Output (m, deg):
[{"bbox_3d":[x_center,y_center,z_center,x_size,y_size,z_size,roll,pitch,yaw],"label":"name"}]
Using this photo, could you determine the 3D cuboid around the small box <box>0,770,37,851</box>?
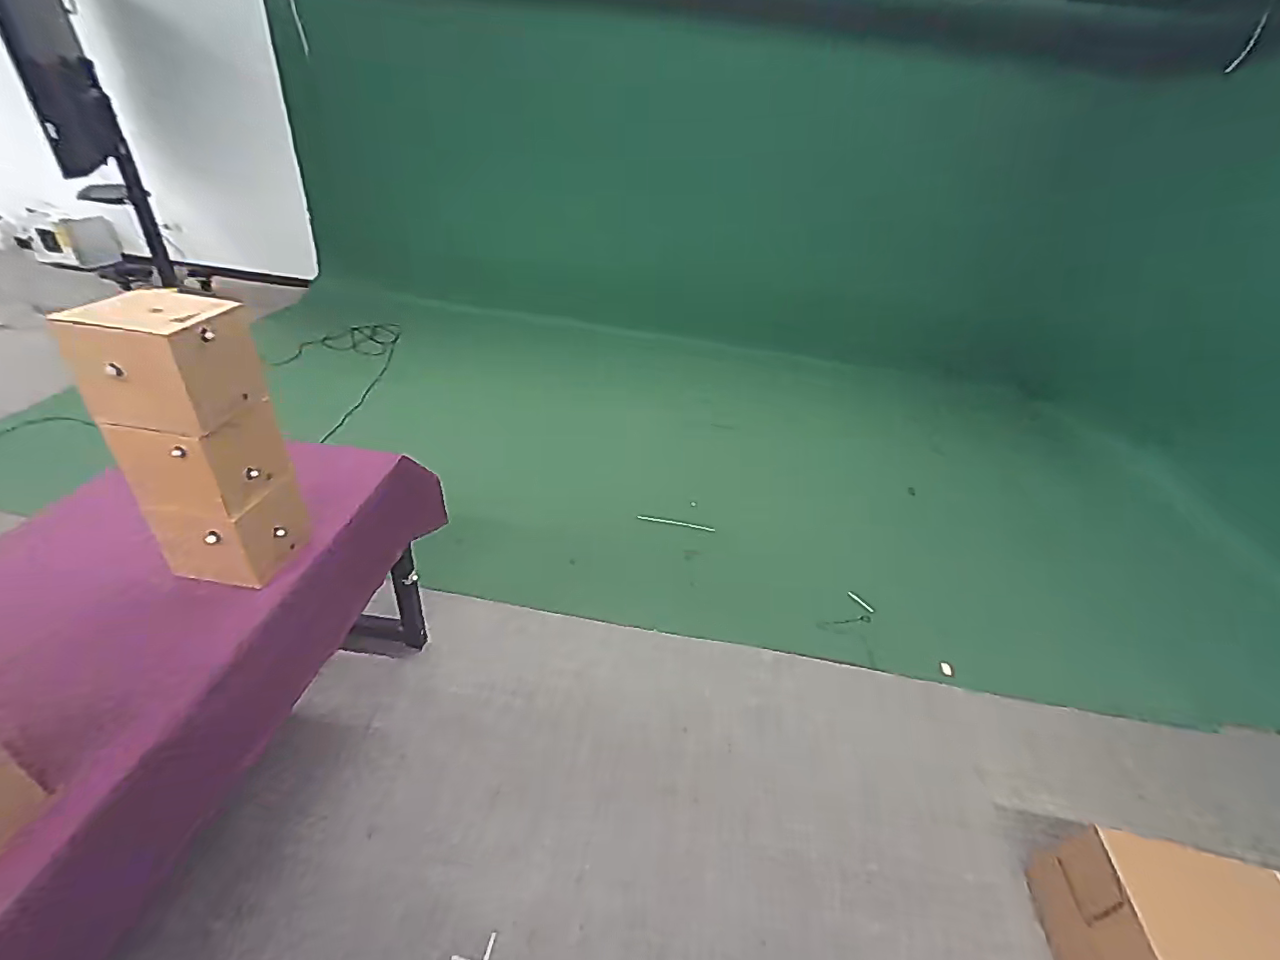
[{"bbox_3d":[-0.849,0.387,0.588,0.168,0.176,0.179,10,33,4],"label":"small box"}]

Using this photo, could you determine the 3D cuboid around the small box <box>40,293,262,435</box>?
[{"bbox_3d":[-0.759,-0.186,0.865,0.179,0.176,0.168,6,34,-1],"label":"small box"}]

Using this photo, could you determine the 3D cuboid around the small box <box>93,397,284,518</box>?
[{"bbox_3d":[-0.779,-0.050,0.956,0.179,0.176,0.168,9,34,1],"label":"small box"}]

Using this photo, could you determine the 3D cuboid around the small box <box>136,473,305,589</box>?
[{"bbox_3d":[-0.789,0.088,1.042,0.179,0.176,0.168,8,33,2],"label":"small box"}]
